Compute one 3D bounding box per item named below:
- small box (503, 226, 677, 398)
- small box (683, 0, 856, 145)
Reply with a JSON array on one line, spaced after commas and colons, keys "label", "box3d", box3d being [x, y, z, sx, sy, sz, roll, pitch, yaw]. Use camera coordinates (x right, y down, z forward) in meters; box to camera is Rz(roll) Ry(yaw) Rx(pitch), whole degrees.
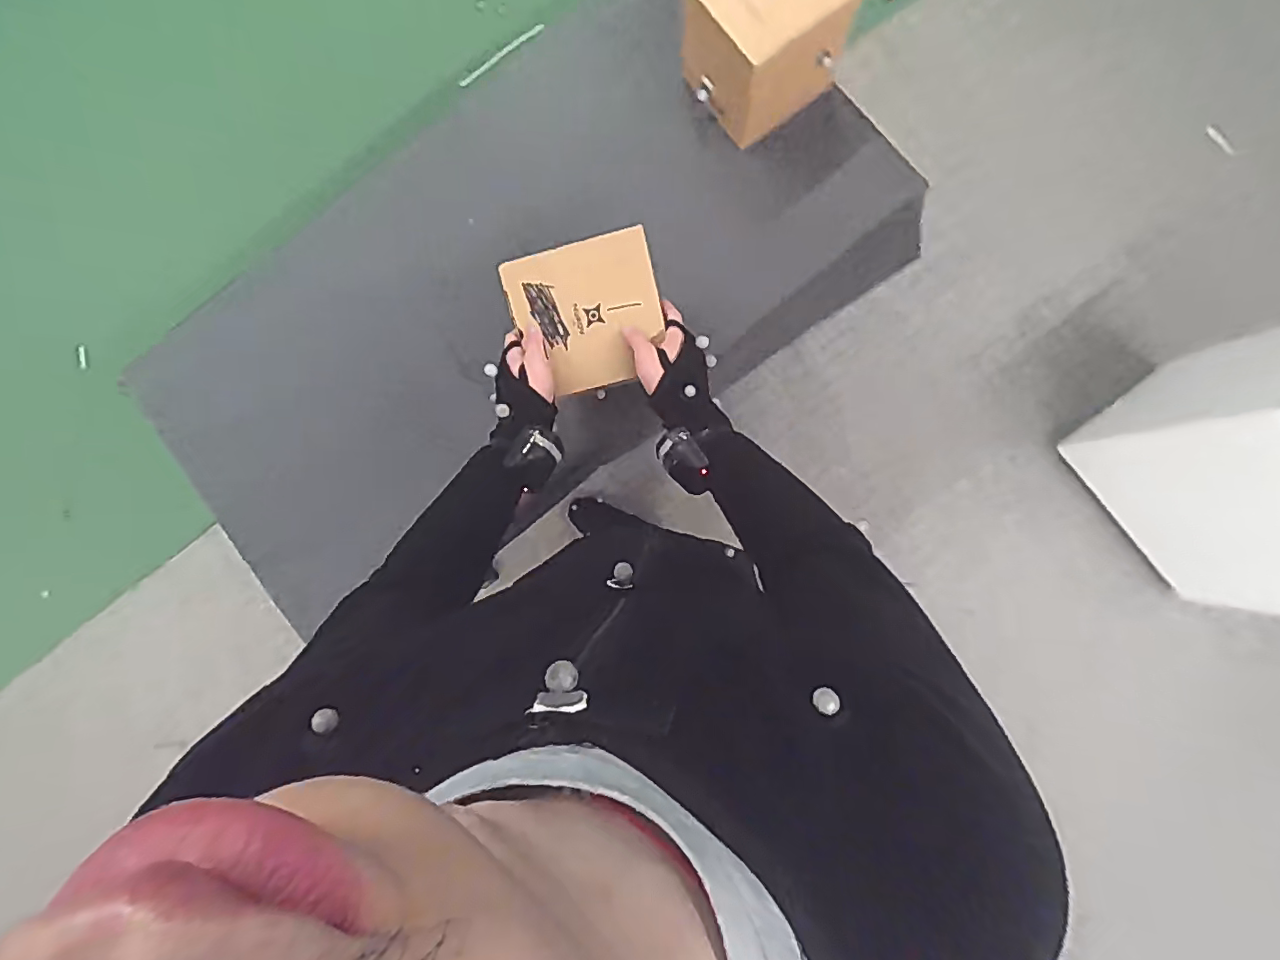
[{"label": "small box", "box3d": [-0.052, -0.203, 0.702, 0.179, 0.176, 0.168, -12, 99, 6]}, {"label": "small box", "box3d": [0.173, -0.645, 0.782, 0.179, 0.176, 0.168, -36, 84, 2]}]
